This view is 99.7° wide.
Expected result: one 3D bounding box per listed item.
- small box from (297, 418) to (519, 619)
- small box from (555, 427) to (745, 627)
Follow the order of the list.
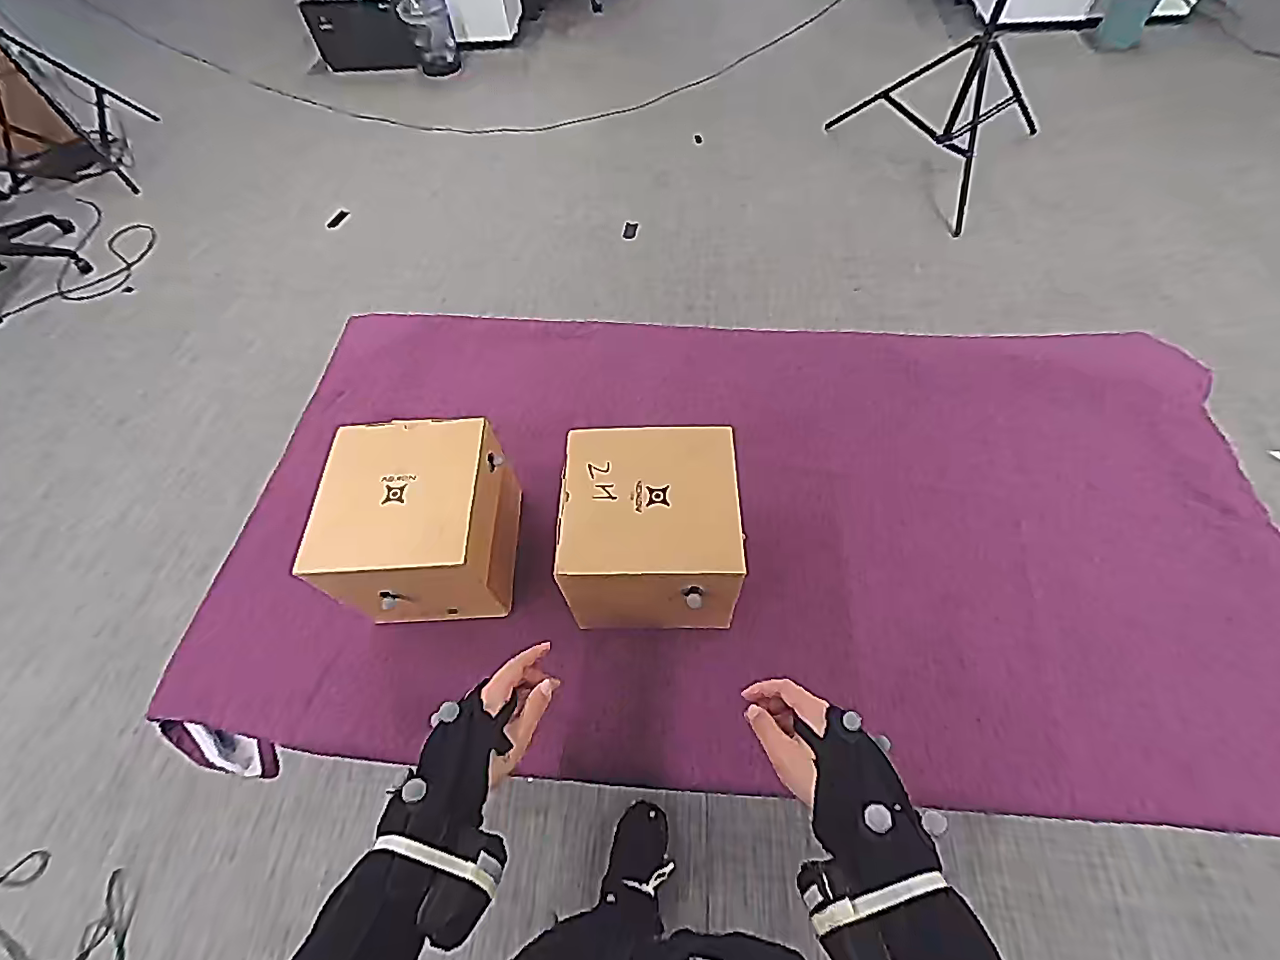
[{"bbox_3d":[-0.242,0.053,0.619,0.168,0.176,0.179,-4,58,1],"label":"small box"},{"bbox_3d":[0.013,0.057,0.597,0.179,0.176,0.168,-1,58,3],"label":"small box"}]
